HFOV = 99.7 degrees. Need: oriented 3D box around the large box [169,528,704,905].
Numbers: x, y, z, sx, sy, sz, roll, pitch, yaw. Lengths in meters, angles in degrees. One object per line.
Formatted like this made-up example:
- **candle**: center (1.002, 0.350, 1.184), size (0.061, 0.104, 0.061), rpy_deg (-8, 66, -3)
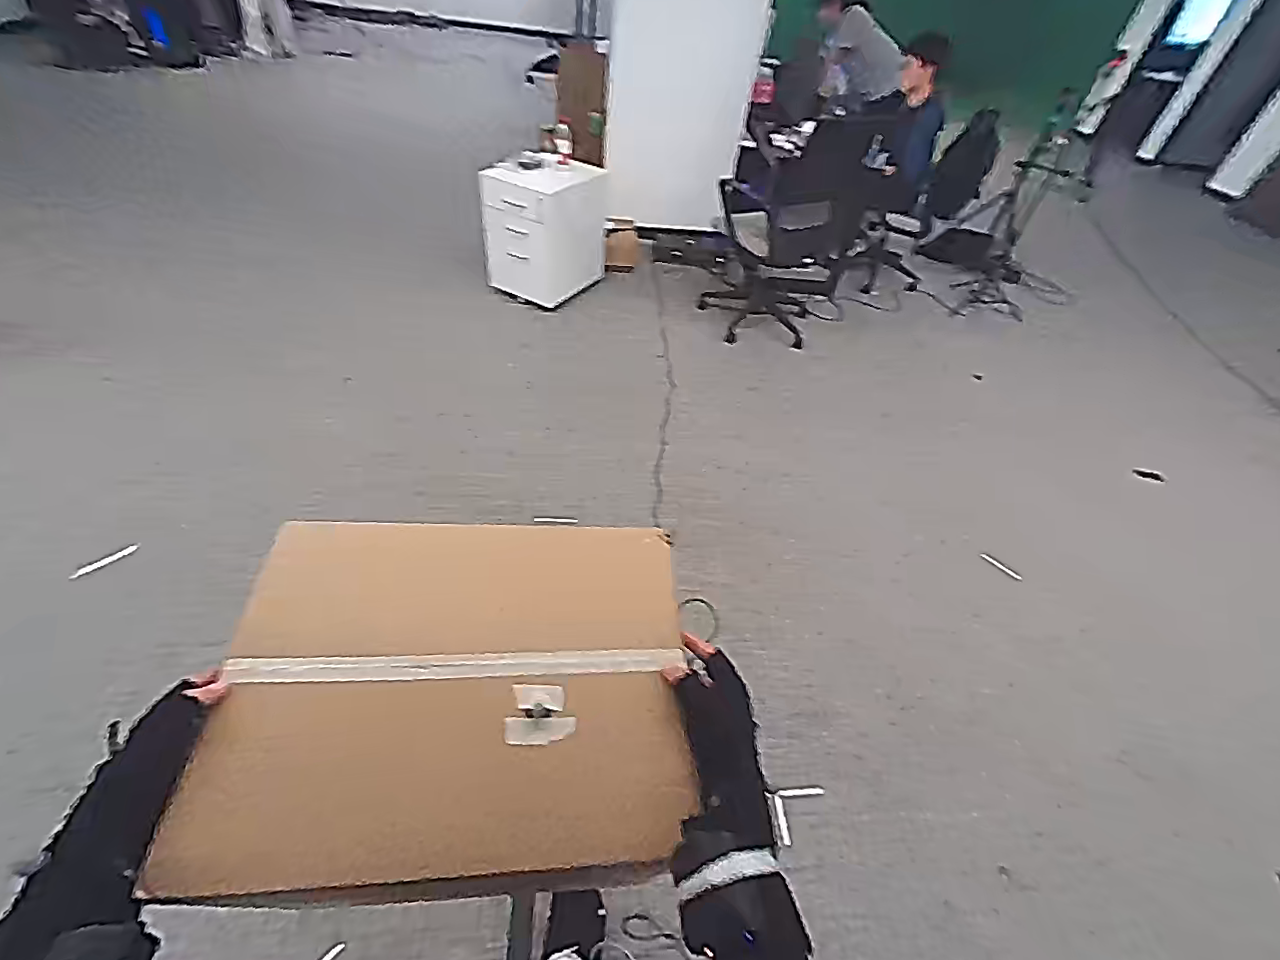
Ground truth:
- **large box**: center (-0.178, 0.268, 0.620), size (0.408, 0.320, 0.320), rpy_deg (2, 51, -10)
